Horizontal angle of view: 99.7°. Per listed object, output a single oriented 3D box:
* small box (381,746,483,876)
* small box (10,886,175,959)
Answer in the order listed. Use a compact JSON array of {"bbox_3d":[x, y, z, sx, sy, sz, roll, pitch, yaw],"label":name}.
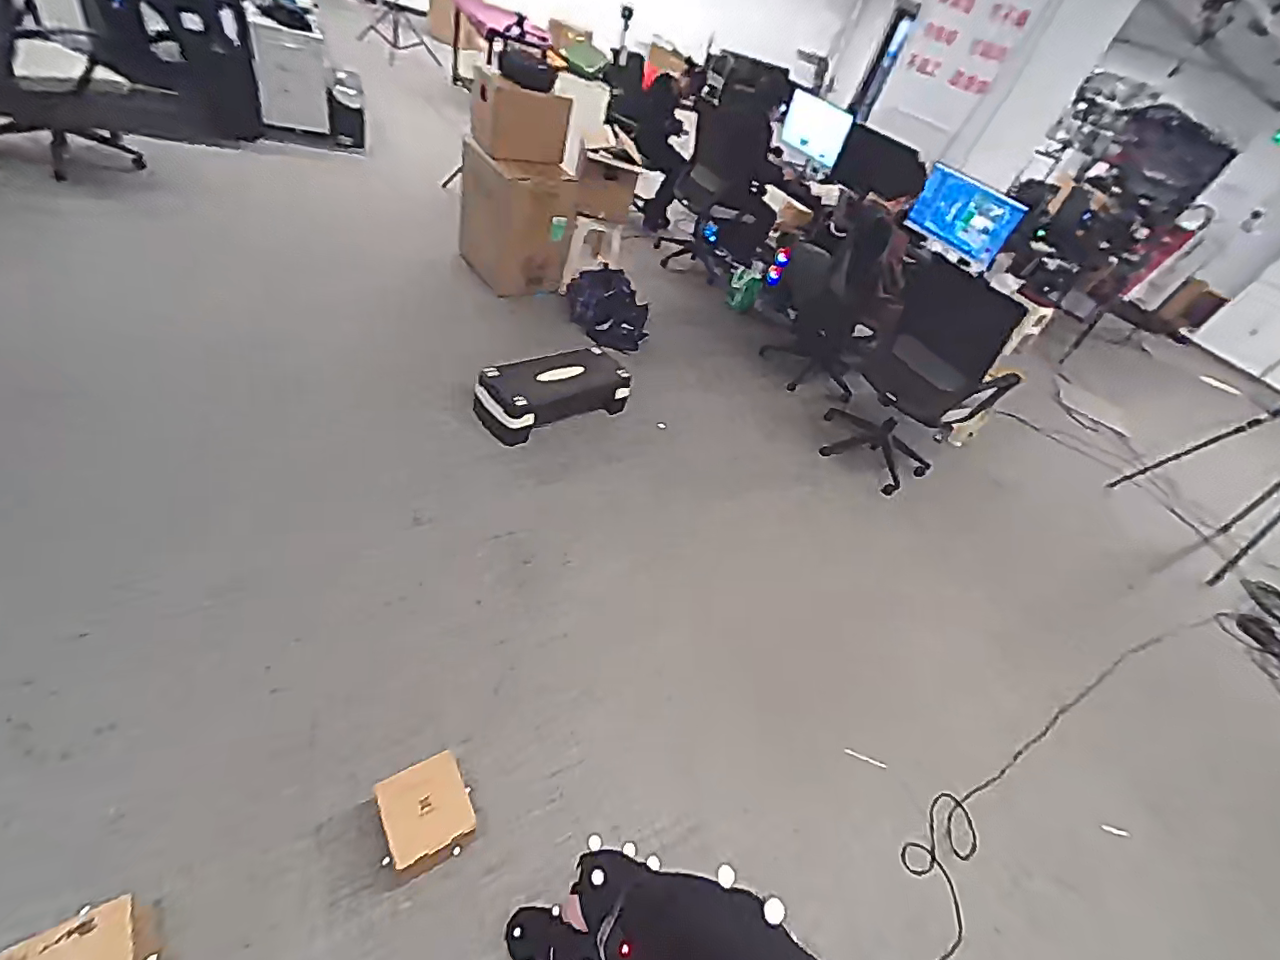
[{"bbox_3d":[-0.460,0.737,1.197,0.168,0.176,0.179,-14,51,-34],"label":"small box"},{"bbox_3d":[-0.910,0.835,0.911,0.168,0.176,0.179,-13,52,-33],"label":"small box"}]
